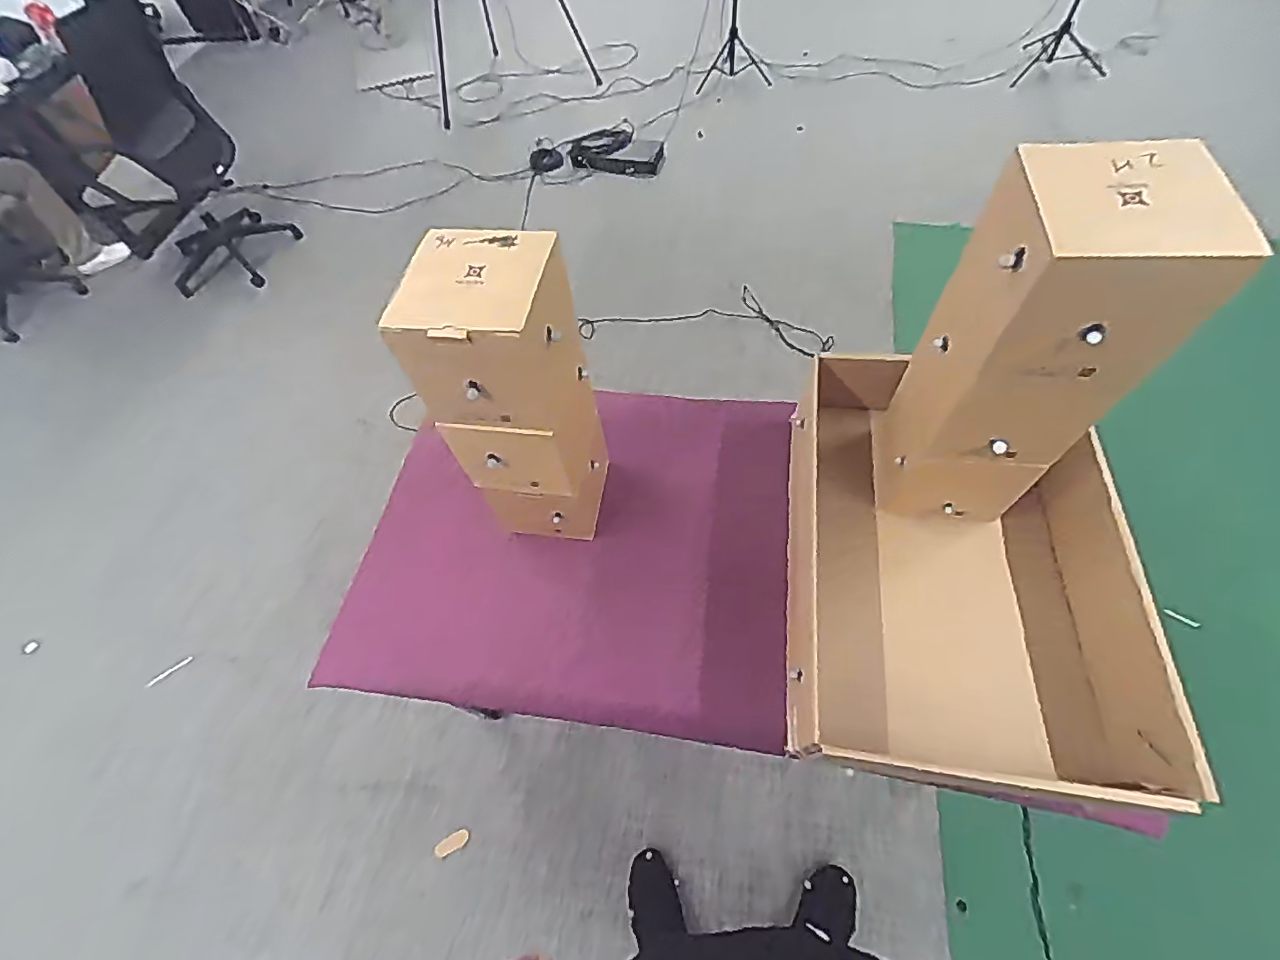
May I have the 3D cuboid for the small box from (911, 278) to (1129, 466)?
[{"bbox_3d":[0.472,-0.139,0.710,0.168,0.176,0.179,3,61,9],"label":"small box"}]

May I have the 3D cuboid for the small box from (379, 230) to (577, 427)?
[{"bbox_3d":[-0.184,-0.185,0.679,0.168,0.176,0.179,5,60,8],"label":"small box"}]

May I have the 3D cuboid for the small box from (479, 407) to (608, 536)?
[{"bbox_3d":[-0.157,-0.016,0.956,0.168,0.176,0.179,6,59,8],"label":"small box"}]

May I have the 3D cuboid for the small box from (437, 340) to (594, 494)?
[{"bbox_3d":[-0.172,-0.095,0.817,0.168,0.176,0.179,5,59,8],"label":"small box"}]

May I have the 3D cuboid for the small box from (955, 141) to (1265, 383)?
[{"bbox_3d":[0.456,-0.219,0.565,0.168,0.176,0.179,5,61,9],"label":"small box"}]
